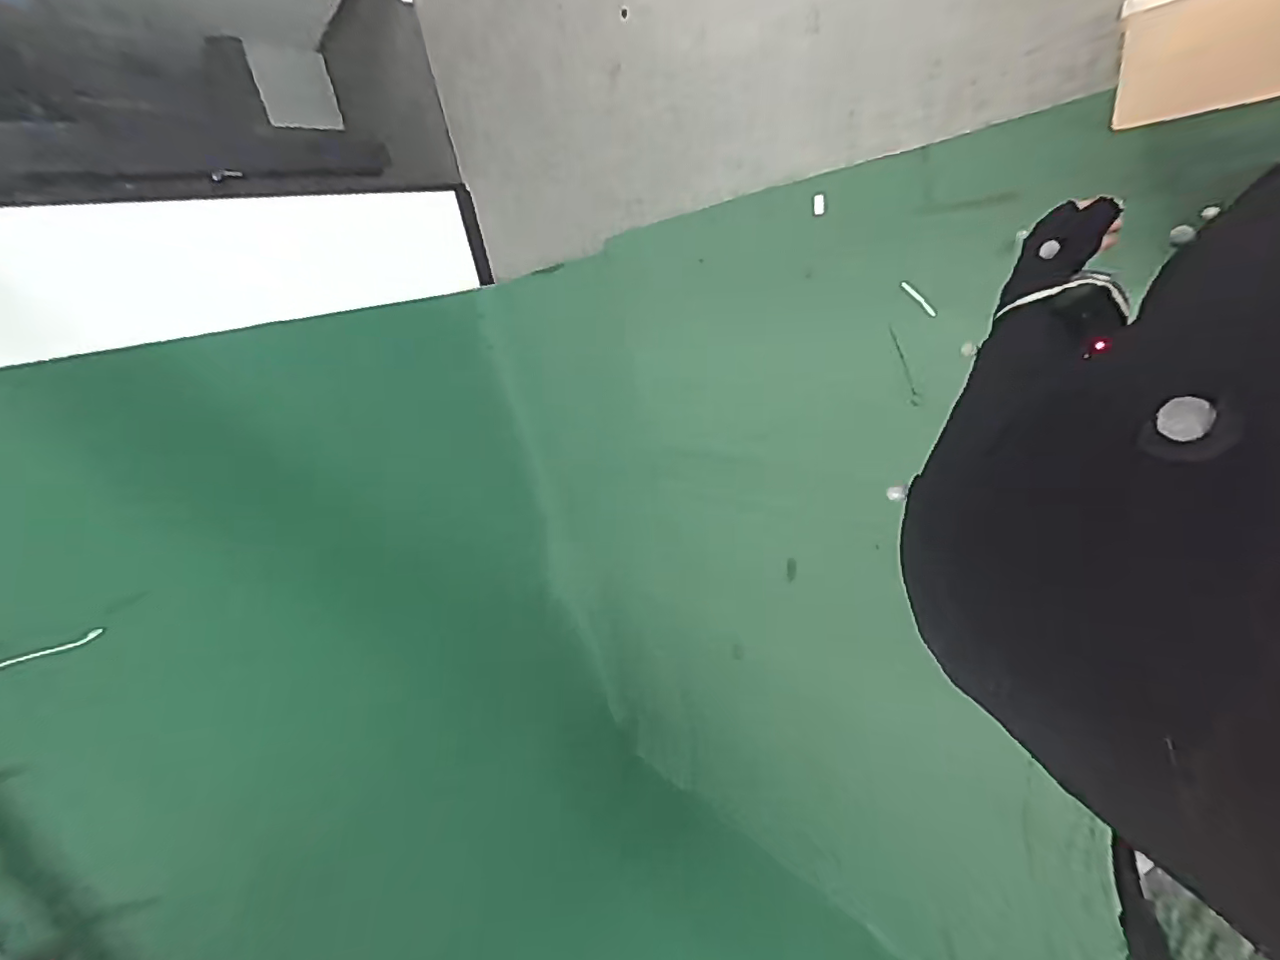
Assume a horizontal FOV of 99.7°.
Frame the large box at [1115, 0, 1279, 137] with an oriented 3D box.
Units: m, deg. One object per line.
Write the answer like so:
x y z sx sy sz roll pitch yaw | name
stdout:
0.940 -0.695 0.725 0.408 0.320 0.320 14 122 44 | large box
